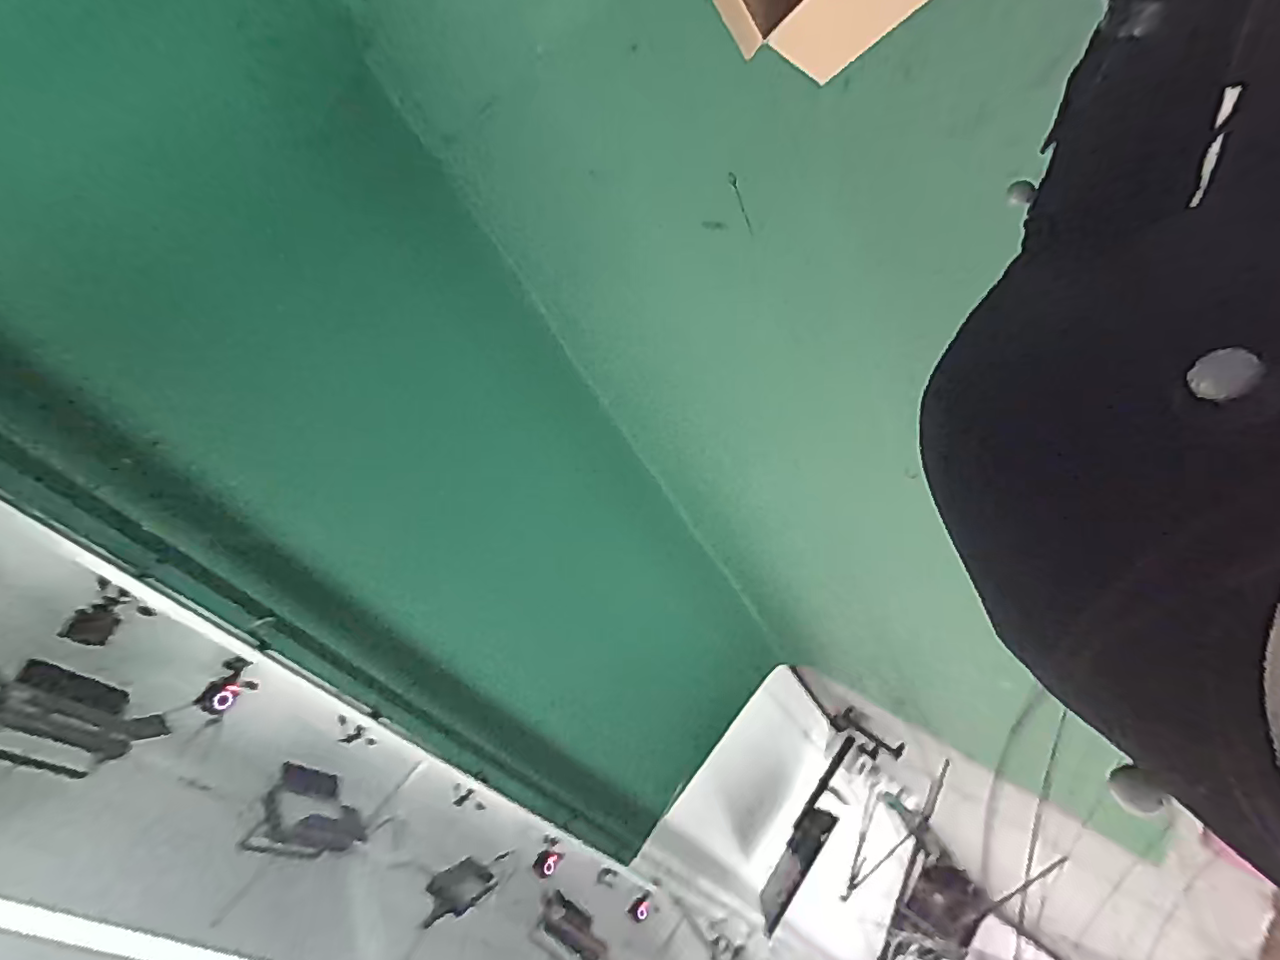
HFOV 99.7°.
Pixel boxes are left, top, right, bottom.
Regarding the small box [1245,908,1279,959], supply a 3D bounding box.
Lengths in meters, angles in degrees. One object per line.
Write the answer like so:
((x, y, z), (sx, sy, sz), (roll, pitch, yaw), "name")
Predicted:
((1.236, 0.934, 0.986), (0.168, 0.176, 0.179), (21, 152, 52), "small box")

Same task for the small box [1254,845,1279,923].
((1.339, 0.818, 1.040), (0.168, 0.176, 0.179), (21, 153, 51), "small box")
